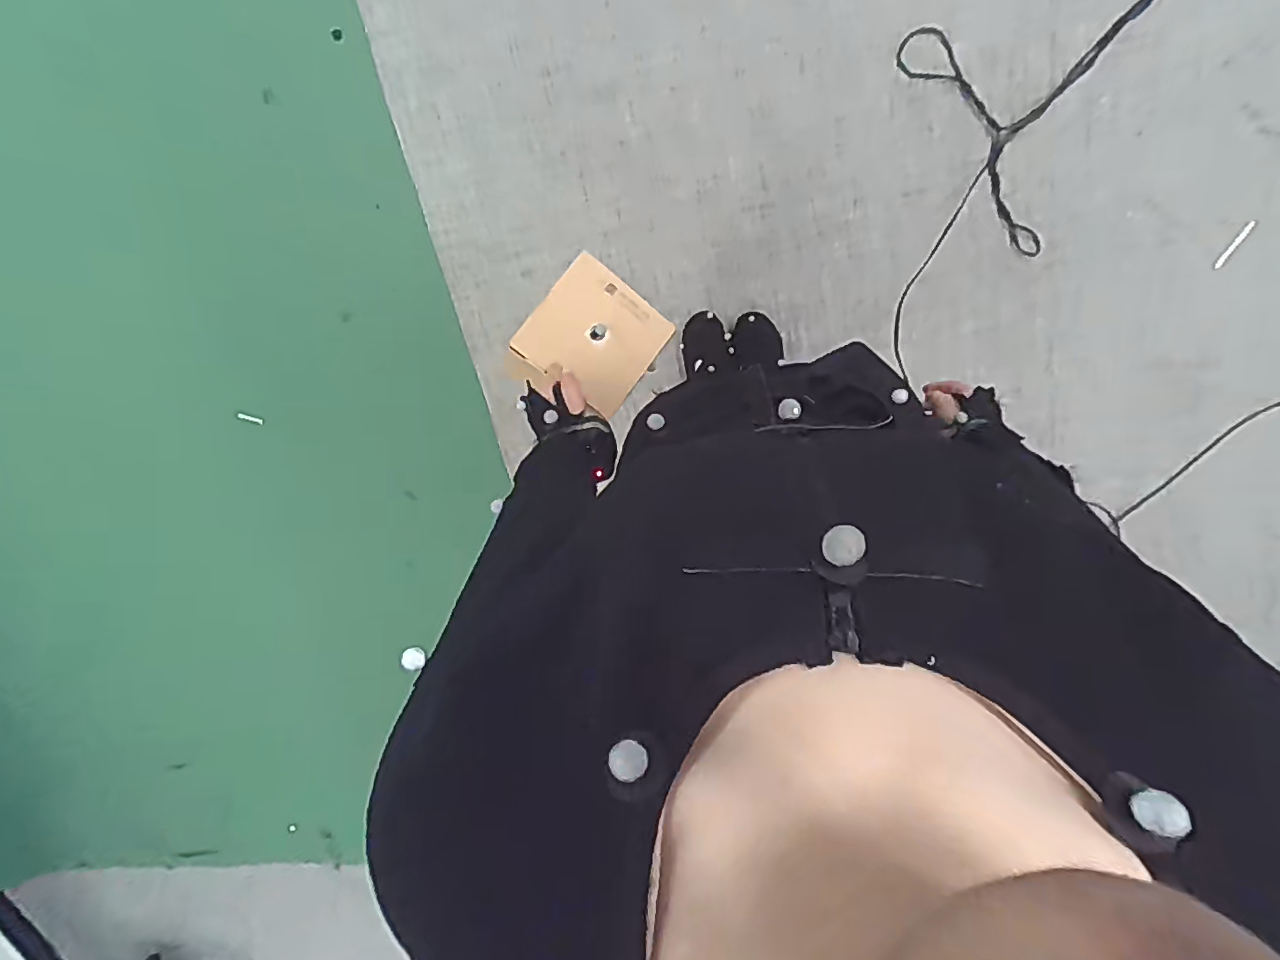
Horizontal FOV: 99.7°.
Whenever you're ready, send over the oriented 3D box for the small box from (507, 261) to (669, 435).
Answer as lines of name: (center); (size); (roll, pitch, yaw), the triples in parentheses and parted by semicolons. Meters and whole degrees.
small box: (-0.079, -0.188, 0.804); (0.168, 0.179, 0.176); (36, 81, -11)
